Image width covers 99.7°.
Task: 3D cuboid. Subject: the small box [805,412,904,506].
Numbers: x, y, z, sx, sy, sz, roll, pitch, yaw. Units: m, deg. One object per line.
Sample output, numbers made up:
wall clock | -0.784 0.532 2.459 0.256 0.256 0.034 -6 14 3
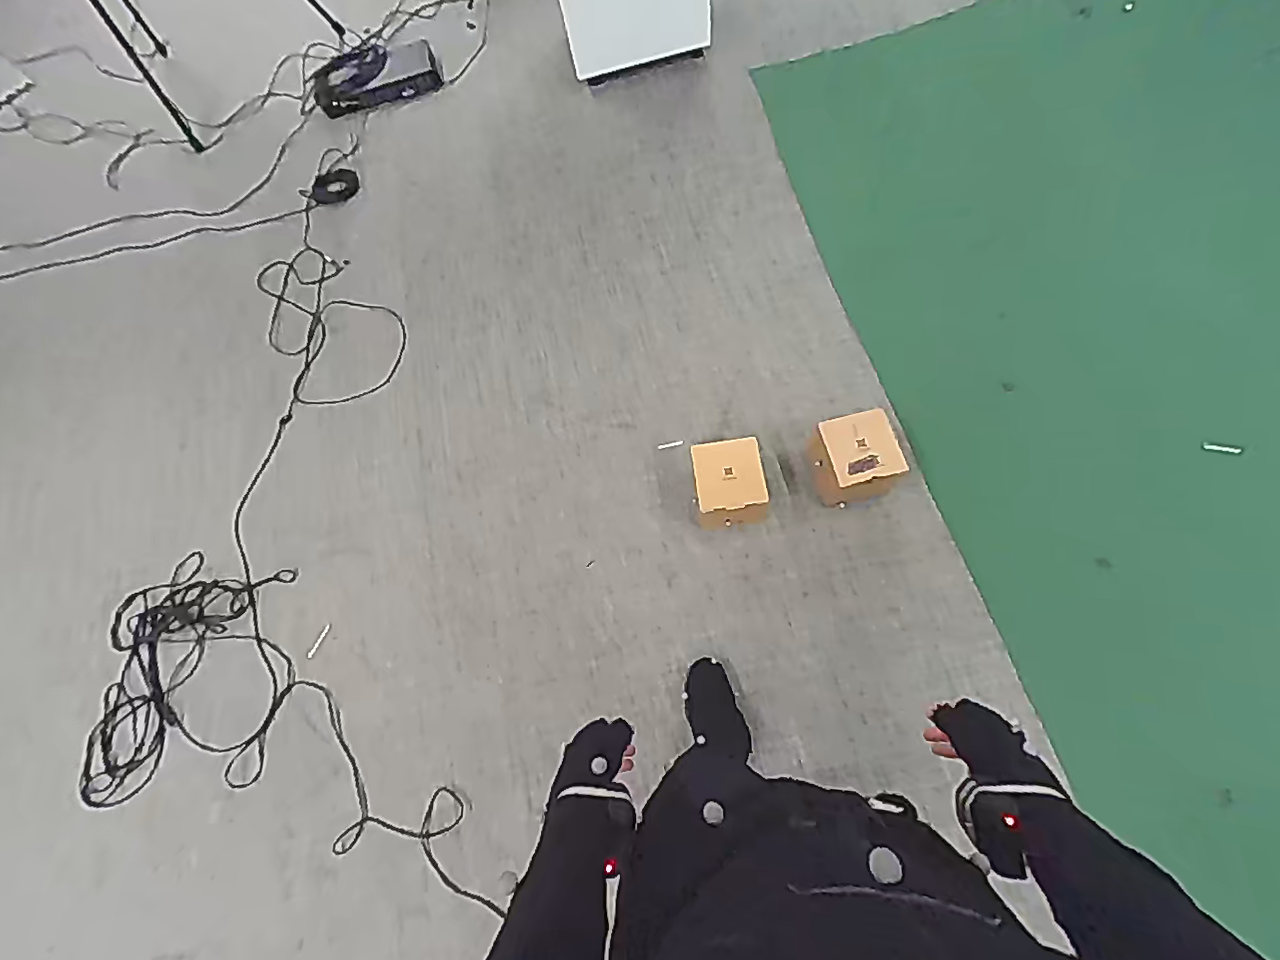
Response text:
small box | 0.533 -0.044 1.367 0.168 0.176 0.179 -13 68 2

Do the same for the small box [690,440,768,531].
small box | 0.220 0.018 1.383 0.168 0.176 0.179 -9 70 4
